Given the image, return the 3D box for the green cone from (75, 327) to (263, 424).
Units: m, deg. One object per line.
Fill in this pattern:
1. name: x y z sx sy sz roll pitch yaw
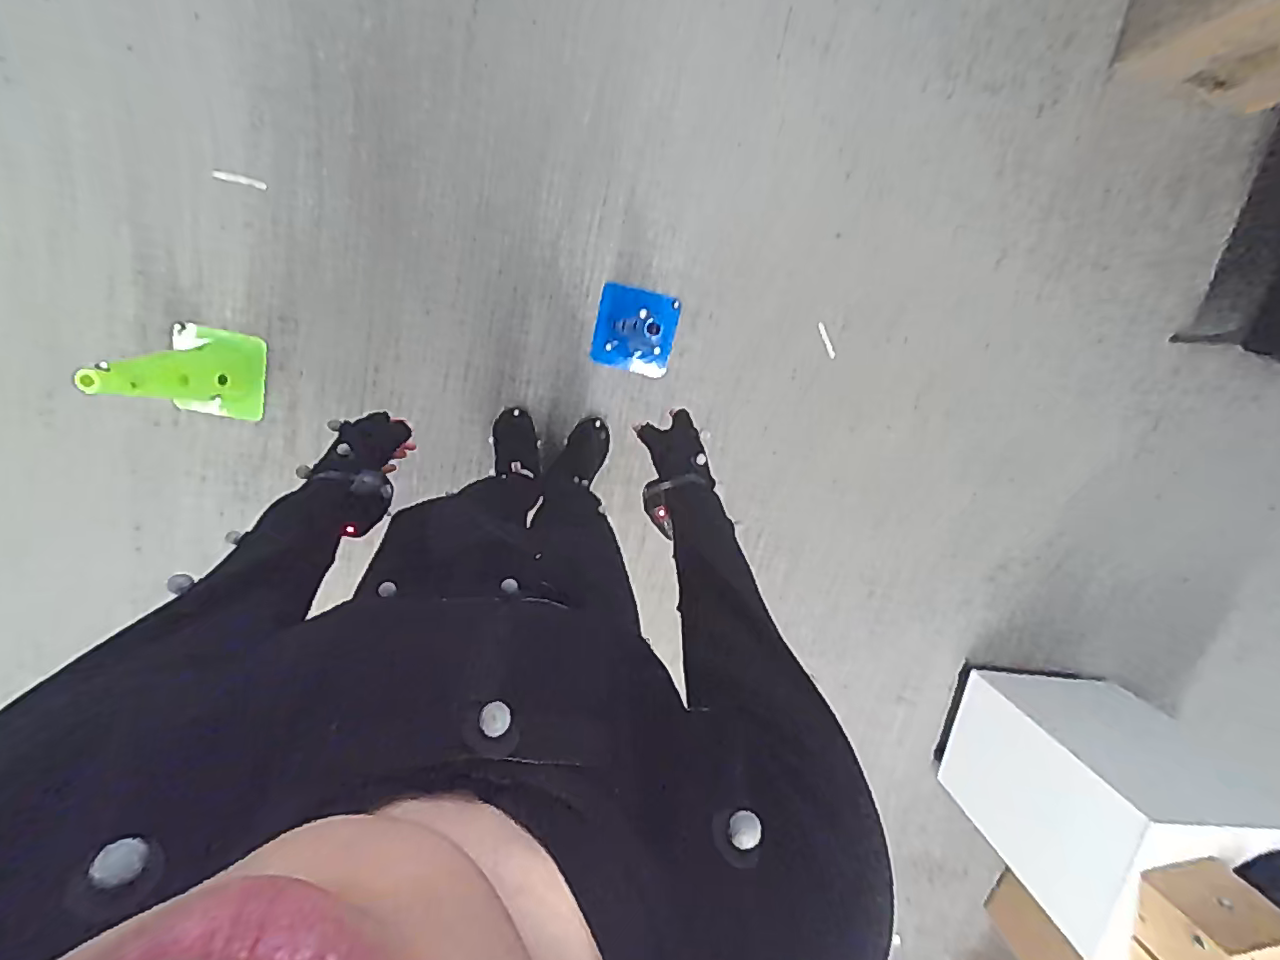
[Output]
1. green cone: -0.976 -0.201 1.101 0.202 0.368 0.200 9 103 -9
